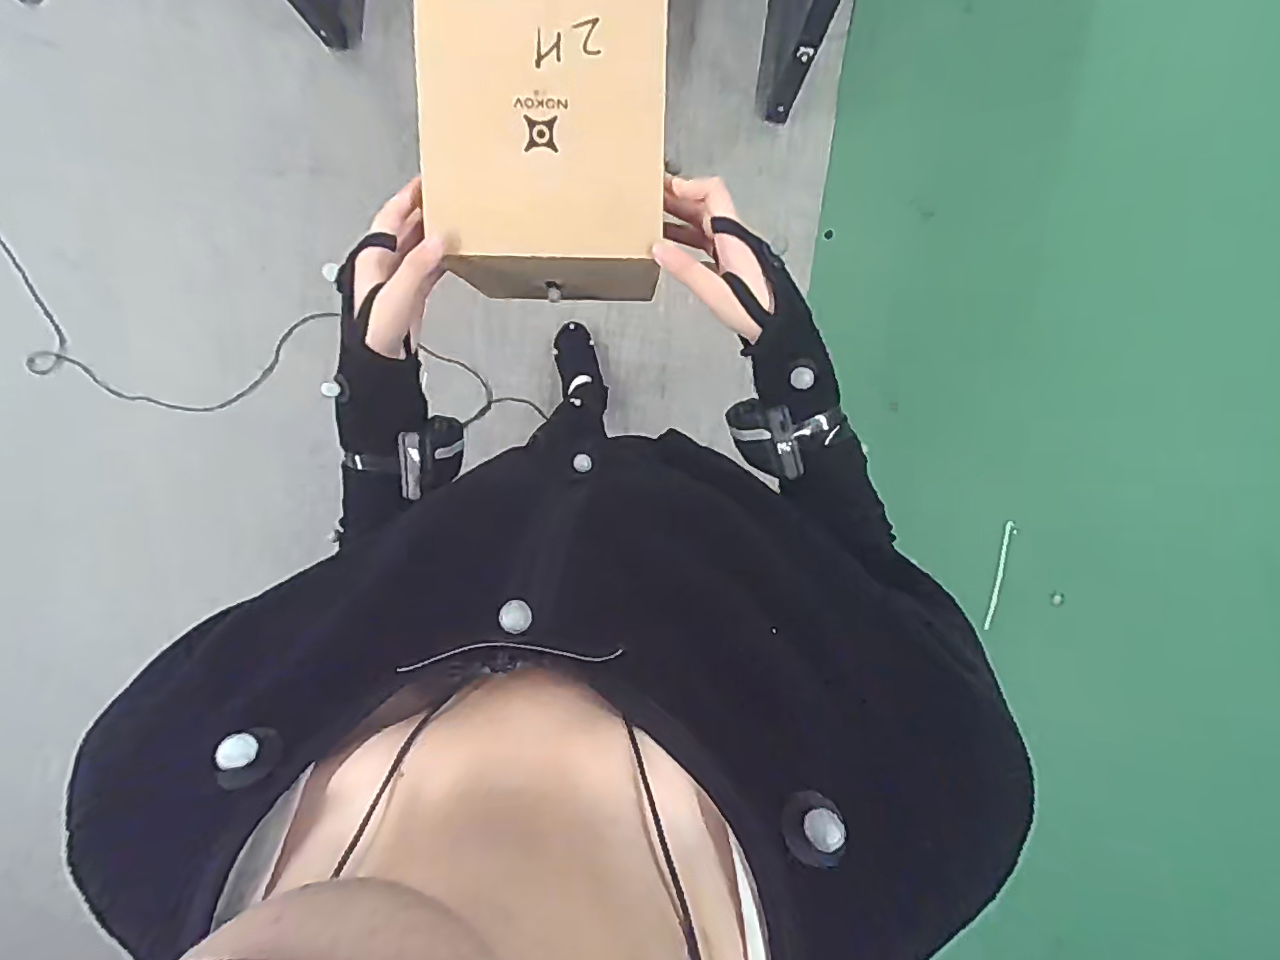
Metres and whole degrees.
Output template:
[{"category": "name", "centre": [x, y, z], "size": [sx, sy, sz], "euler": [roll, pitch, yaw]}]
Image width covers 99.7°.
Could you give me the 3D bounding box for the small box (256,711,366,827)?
[{"category": "small box", "centre": [-0.771, 0.678, 1.283], "size": [0.168, 0.176, 0.179], "euler": [4, 96, -1]}]

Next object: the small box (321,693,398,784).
[{"category": "small box", "centre": [-0.765, 0.685, 1.448], "size": [0.179, 0.176, 0.168], "euler": [0, 95, 0]}]
